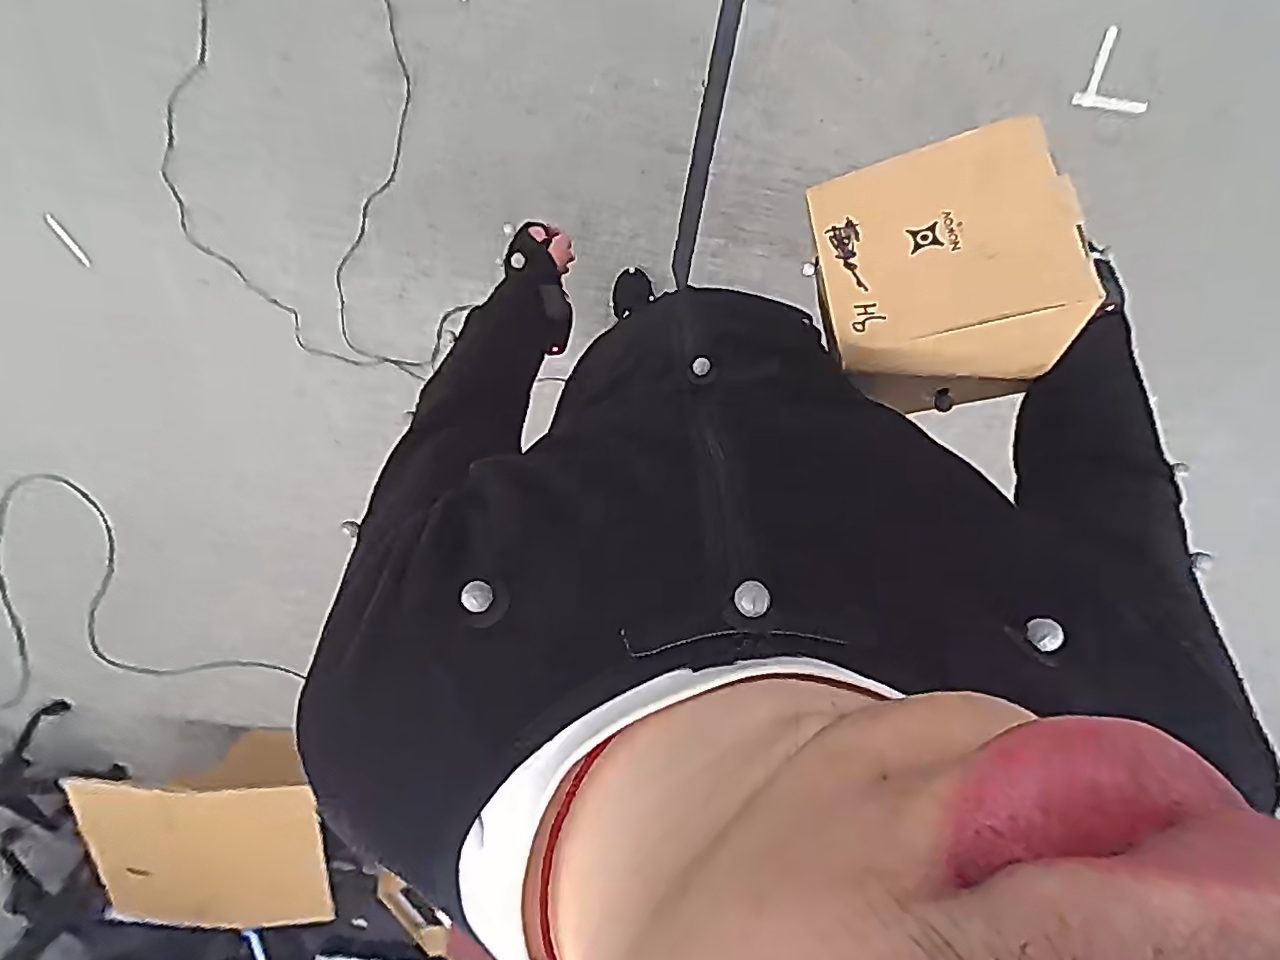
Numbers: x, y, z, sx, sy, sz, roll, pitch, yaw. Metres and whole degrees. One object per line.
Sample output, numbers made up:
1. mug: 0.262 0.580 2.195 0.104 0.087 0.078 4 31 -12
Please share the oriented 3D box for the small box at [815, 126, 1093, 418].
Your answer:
1. small box: 0.266 -0.173 0.506 0.179 0.176 0.168 -9 72 19
